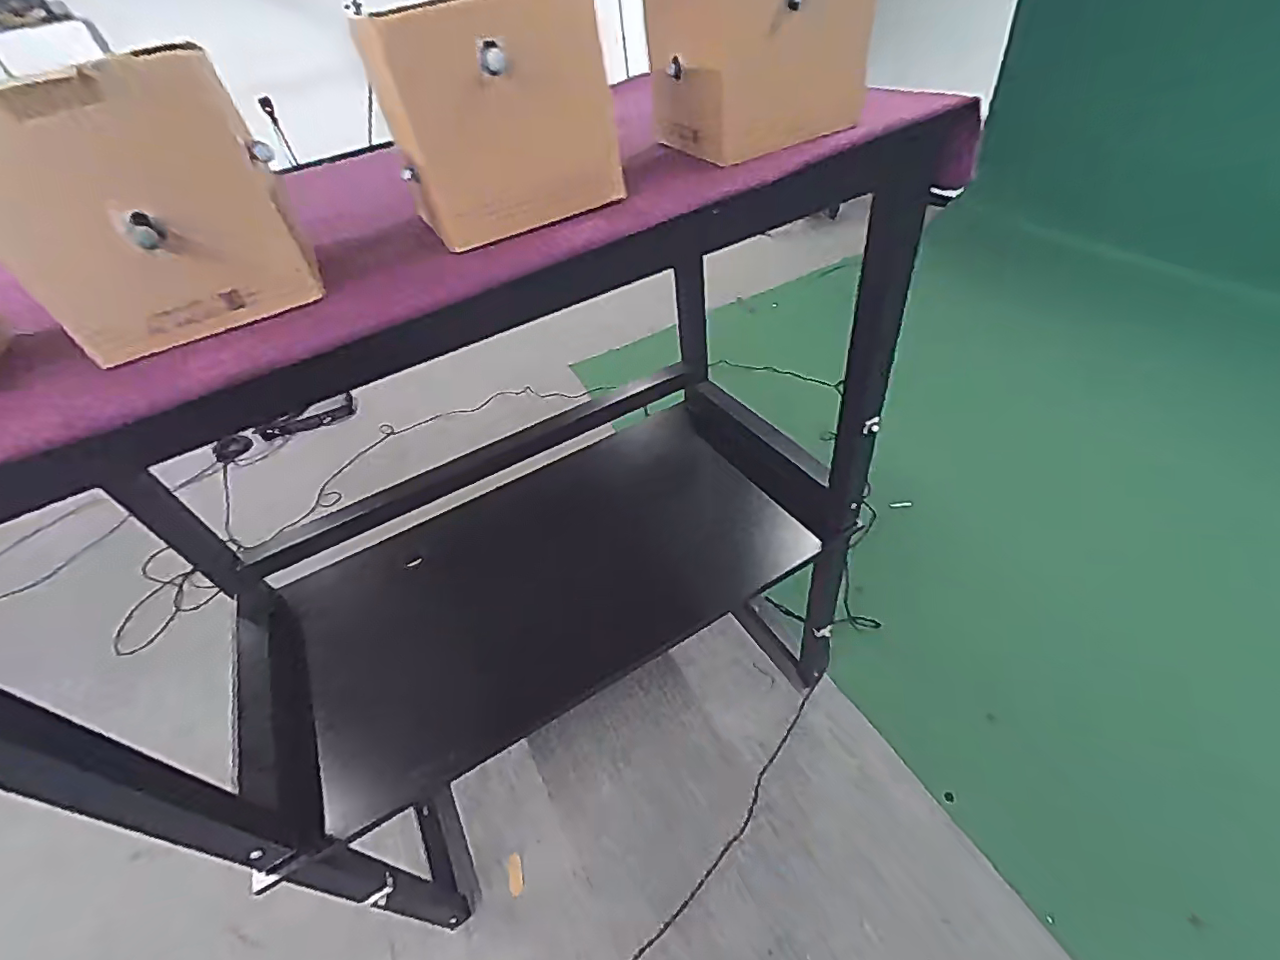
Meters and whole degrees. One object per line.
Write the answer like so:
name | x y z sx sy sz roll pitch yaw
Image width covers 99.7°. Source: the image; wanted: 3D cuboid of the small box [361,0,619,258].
small box | -0.132 -0.338 0.515 0.179 0.176 0.168 -26 44 -14

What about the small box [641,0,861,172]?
small box | 0.120 -0.456 0.587 0.179 0.176 0.168 -23 46 -12

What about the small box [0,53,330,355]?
small box | -0.377 -0.221 0.438 0.168 0.176 0.179 -26 45 -17
